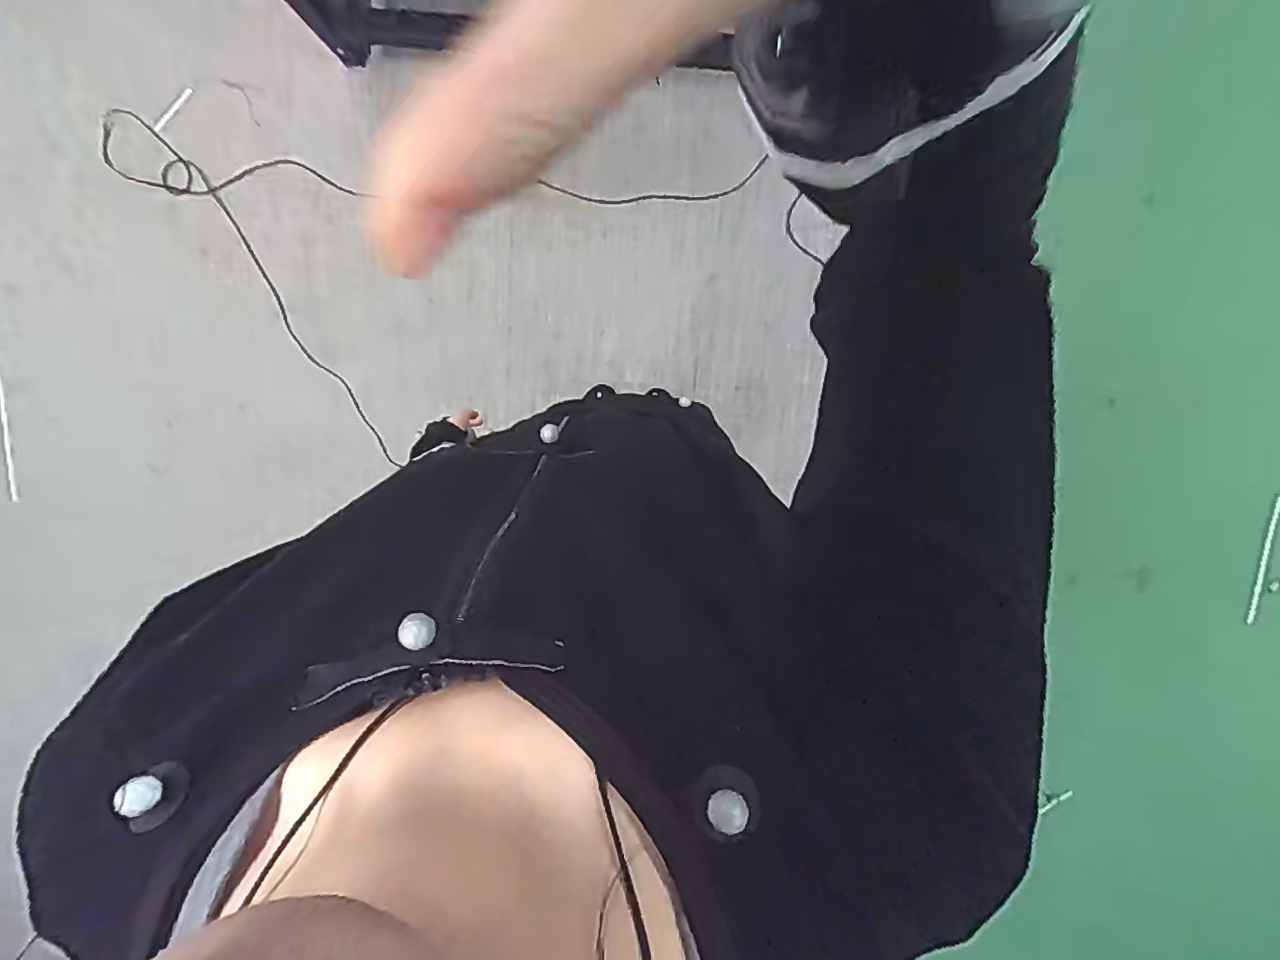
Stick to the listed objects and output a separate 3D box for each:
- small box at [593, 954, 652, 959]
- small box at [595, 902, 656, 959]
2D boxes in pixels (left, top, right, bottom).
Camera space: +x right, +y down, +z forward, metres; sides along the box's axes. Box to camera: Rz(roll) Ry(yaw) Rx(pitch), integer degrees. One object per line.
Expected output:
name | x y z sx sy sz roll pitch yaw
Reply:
small box | -0.048 1.442 1.474 0.179 0.176 0.168 -1 98 0
small box | -0.040 1.423 1.637 0.179 0.176 0.168 -1 99 0
